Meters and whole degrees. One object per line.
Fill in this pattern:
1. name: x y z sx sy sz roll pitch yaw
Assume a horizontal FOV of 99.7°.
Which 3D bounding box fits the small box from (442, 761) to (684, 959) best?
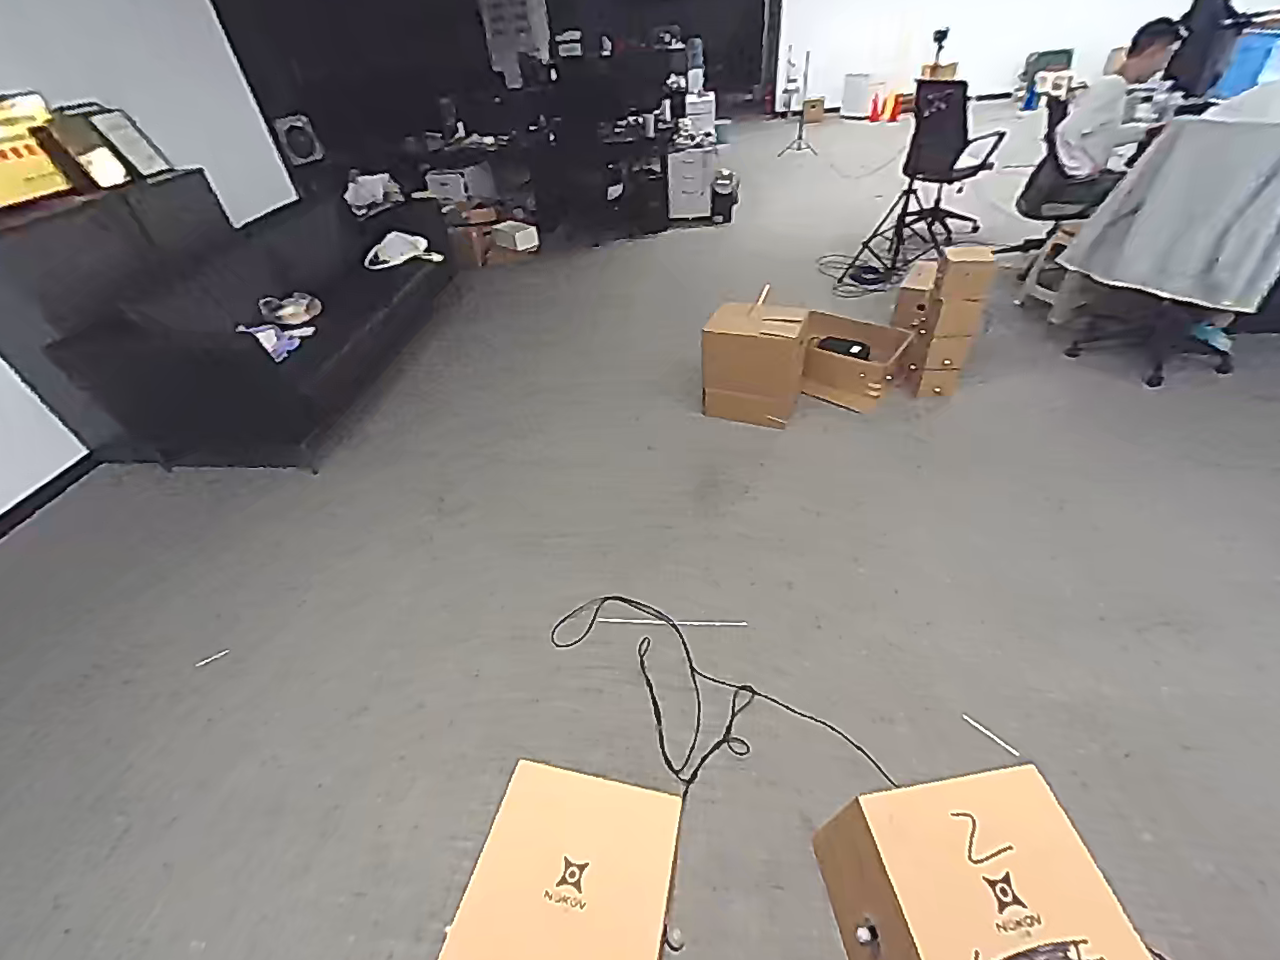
1. small box: -0.058 0.402 0.498 0.168 0.176 0.179 8 37 9
